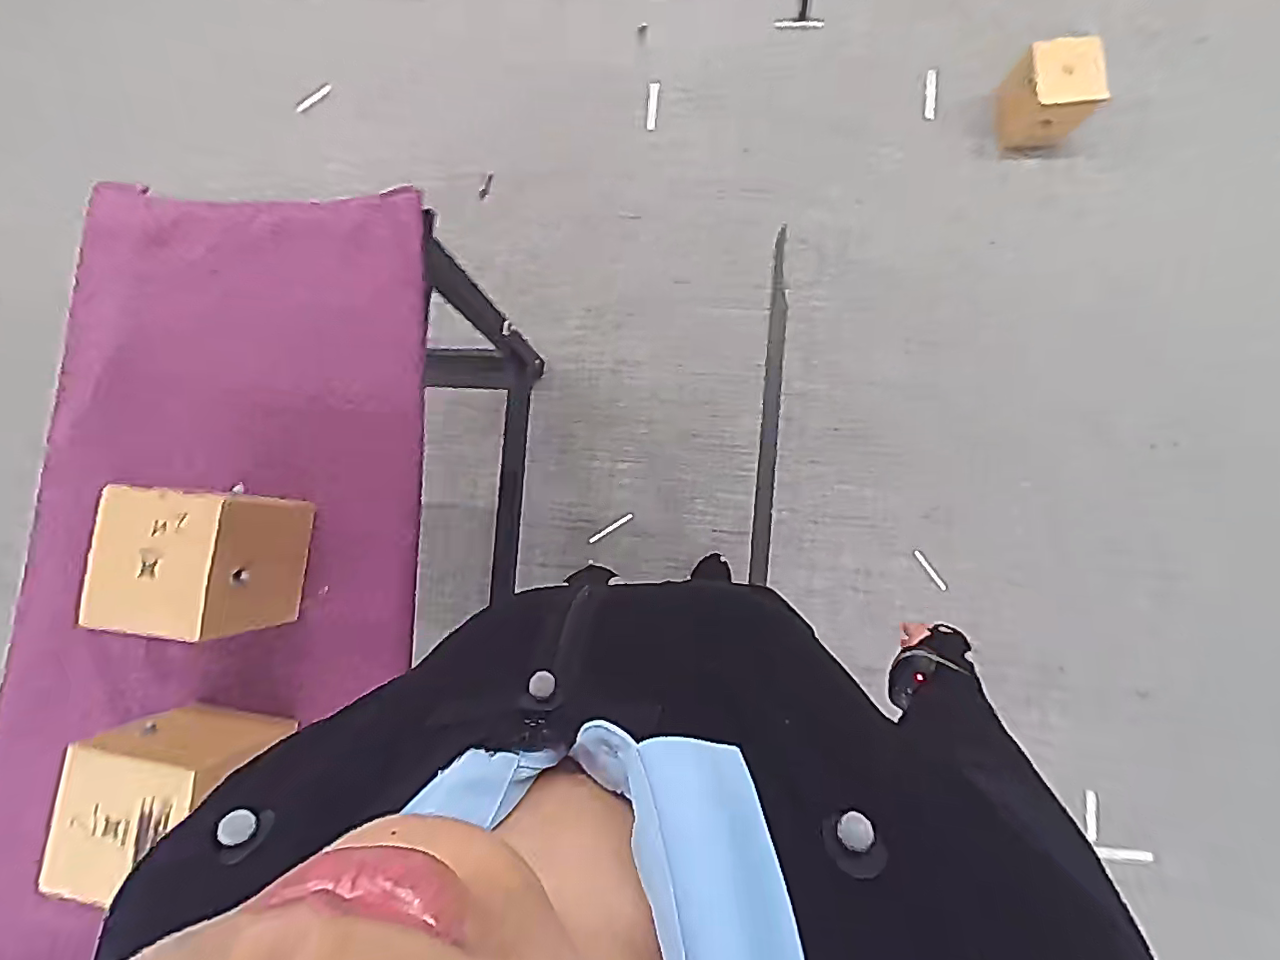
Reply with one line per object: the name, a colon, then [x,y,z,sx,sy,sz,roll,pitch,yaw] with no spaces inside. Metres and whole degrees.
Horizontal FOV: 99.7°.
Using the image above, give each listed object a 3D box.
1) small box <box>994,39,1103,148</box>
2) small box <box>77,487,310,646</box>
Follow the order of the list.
small box: [1.087,-1.024,1.452,0.168,0.176,0.179,-3,84,5]
small box: [-0.587,0.110,0.735,0.168,0.176,0.179,6,85,5]
